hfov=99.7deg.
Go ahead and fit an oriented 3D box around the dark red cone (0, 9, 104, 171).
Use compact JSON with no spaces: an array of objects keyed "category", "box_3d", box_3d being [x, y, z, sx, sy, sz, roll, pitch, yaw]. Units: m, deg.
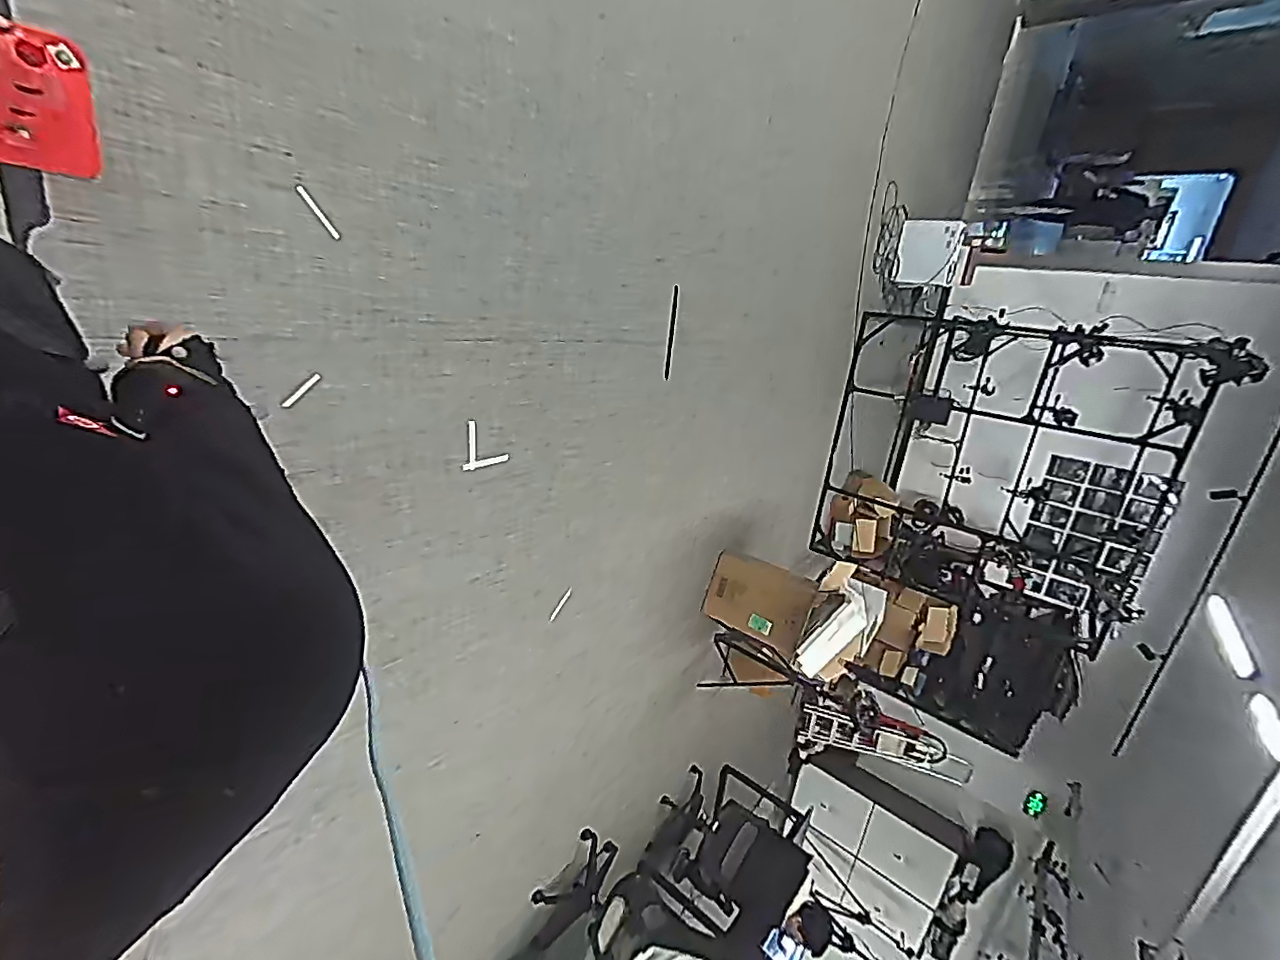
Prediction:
[{"category":"dark red cone","box_3d":[-0.825,-0.538,0.710,0.201,0.394,0.202,-16,119,-49]}]
